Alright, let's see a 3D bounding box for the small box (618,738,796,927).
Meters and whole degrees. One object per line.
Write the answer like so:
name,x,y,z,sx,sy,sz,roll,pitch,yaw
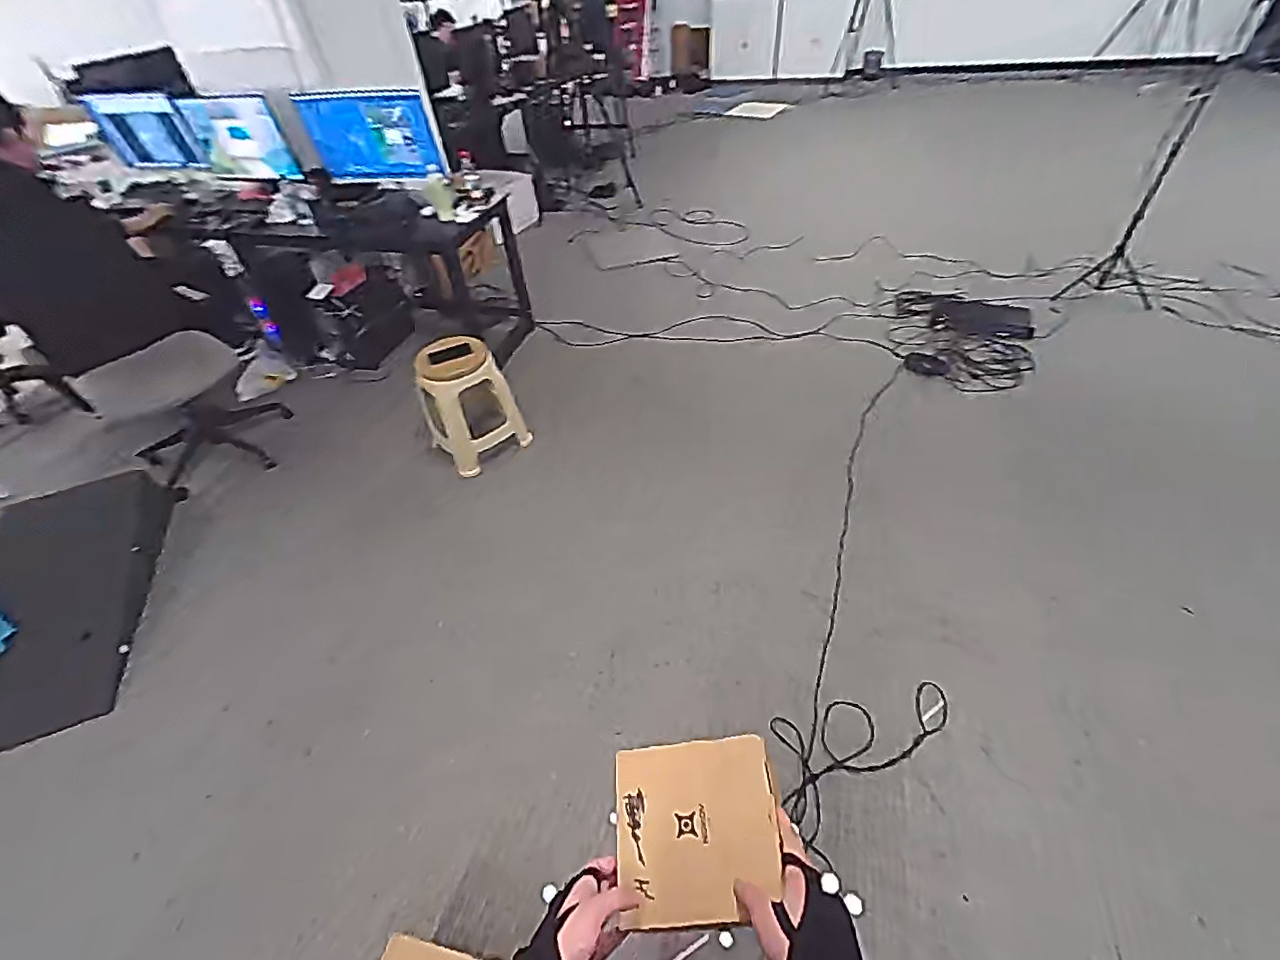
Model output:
small box,0.082,0.418,0.637,0.179,0.176,0.168,-12,48,12
